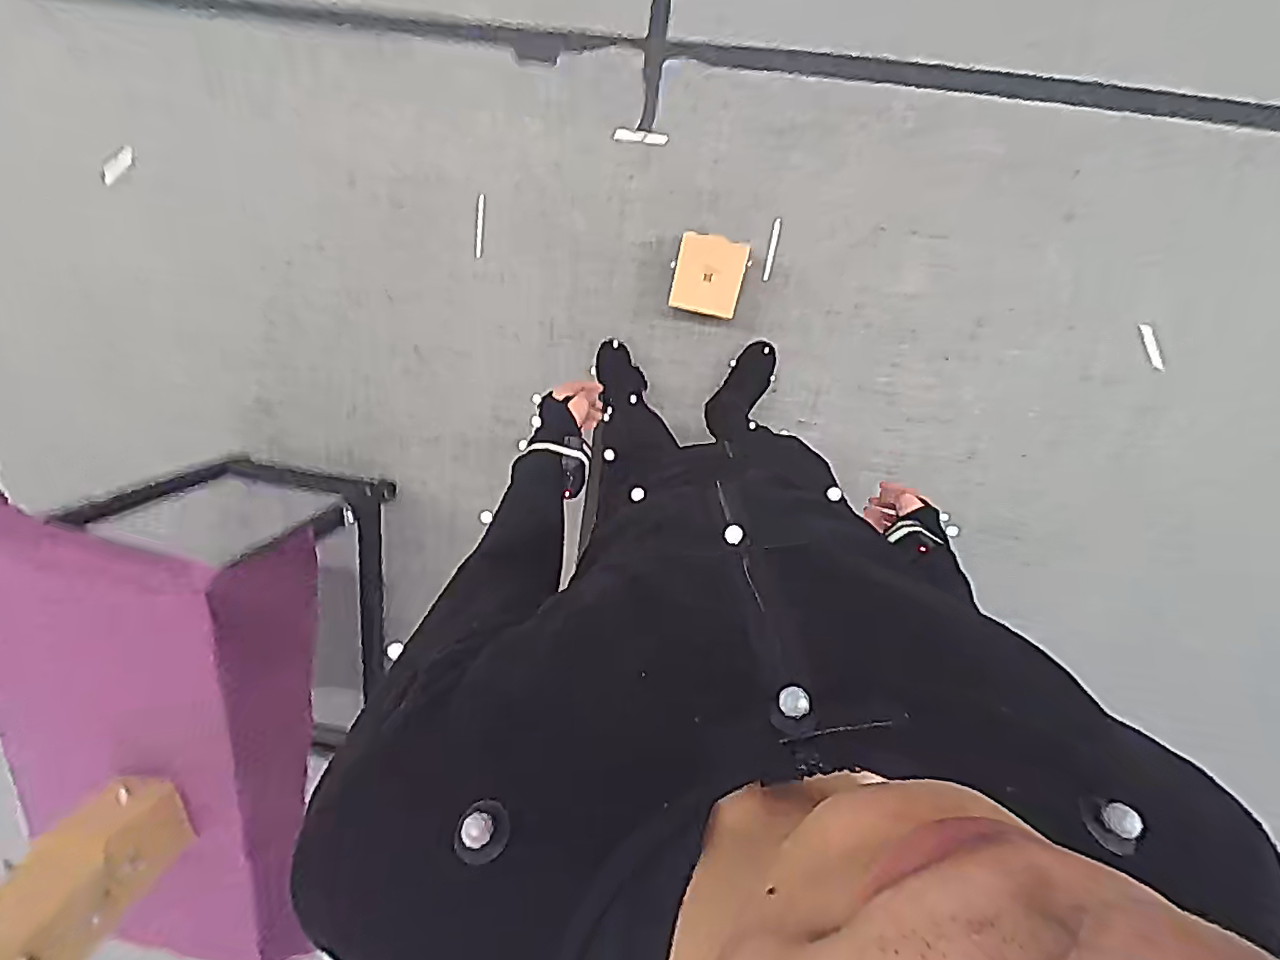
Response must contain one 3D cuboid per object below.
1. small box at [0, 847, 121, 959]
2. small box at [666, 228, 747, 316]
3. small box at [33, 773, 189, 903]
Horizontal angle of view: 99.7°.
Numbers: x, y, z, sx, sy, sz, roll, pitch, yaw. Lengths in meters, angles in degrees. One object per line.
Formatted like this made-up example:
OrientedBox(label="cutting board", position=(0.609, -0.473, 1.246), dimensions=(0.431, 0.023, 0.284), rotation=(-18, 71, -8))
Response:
OrientedBox(label="small box", position=(-1.207, 0.873, 1.075), dimensions=(0.179, 0.176, 0.168), rotation=(5, 110, 5))
OrientedBox(label="small box", position=(0.170, -0.530, 1.395), dimensions=(0.168, 0.176, 0.179), rotation=(14, 109, 2))
OrientedBox(label="small box", position=(-1.179, 0.802, 1.222), dimensions=(0.168, 0.176, 0.179), rotation=(0, 108, 7))
